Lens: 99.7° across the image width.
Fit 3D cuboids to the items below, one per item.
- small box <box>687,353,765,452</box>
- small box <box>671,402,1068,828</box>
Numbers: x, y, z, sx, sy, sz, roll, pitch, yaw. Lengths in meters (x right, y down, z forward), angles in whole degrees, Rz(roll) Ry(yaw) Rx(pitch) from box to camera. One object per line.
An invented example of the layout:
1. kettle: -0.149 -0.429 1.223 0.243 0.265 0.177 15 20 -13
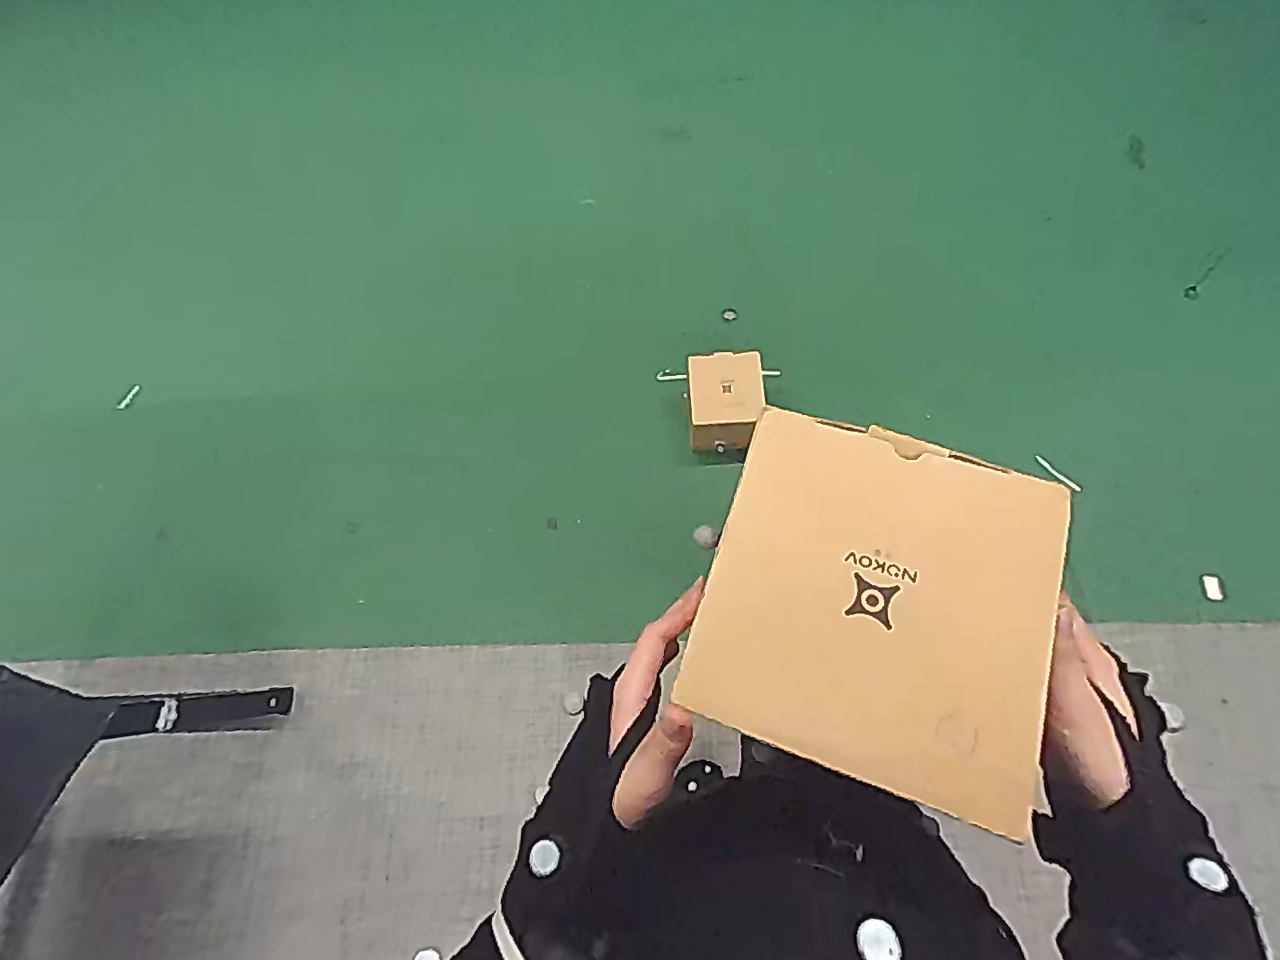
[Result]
1. small box: 0.199 -0.180 1.286 0.168 0.176 0.179 -3 73 4
2. small box: 0.129 0.081 0.352 0.168 0.176 0.179 17 72 12
